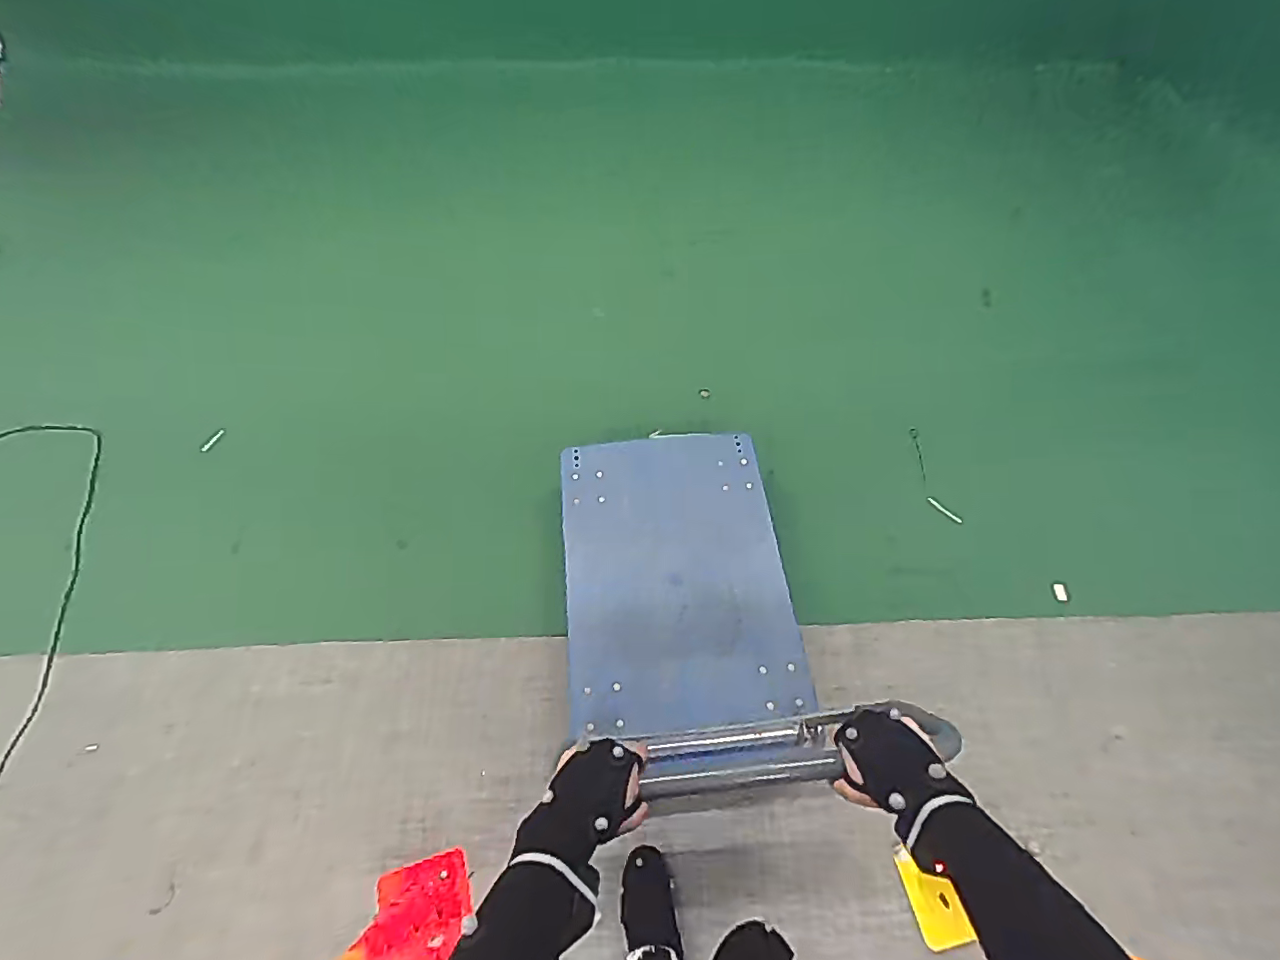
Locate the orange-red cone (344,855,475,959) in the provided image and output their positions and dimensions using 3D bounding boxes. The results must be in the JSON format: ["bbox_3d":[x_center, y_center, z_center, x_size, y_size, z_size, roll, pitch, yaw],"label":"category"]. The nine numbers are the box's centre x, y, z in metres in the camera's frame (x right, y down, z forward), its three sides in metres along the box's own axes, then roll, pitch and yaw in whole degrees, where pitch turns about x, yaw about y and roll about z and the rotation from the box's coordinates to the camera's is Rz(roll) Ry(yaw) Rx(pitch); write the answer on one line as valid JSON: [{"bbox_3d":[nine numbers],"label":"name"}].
[{"bbox_3d":[-0.475,0.887,1.050,0.199,0.360,0.198,-16,62,-7],"label":"orange-red cone"}]
